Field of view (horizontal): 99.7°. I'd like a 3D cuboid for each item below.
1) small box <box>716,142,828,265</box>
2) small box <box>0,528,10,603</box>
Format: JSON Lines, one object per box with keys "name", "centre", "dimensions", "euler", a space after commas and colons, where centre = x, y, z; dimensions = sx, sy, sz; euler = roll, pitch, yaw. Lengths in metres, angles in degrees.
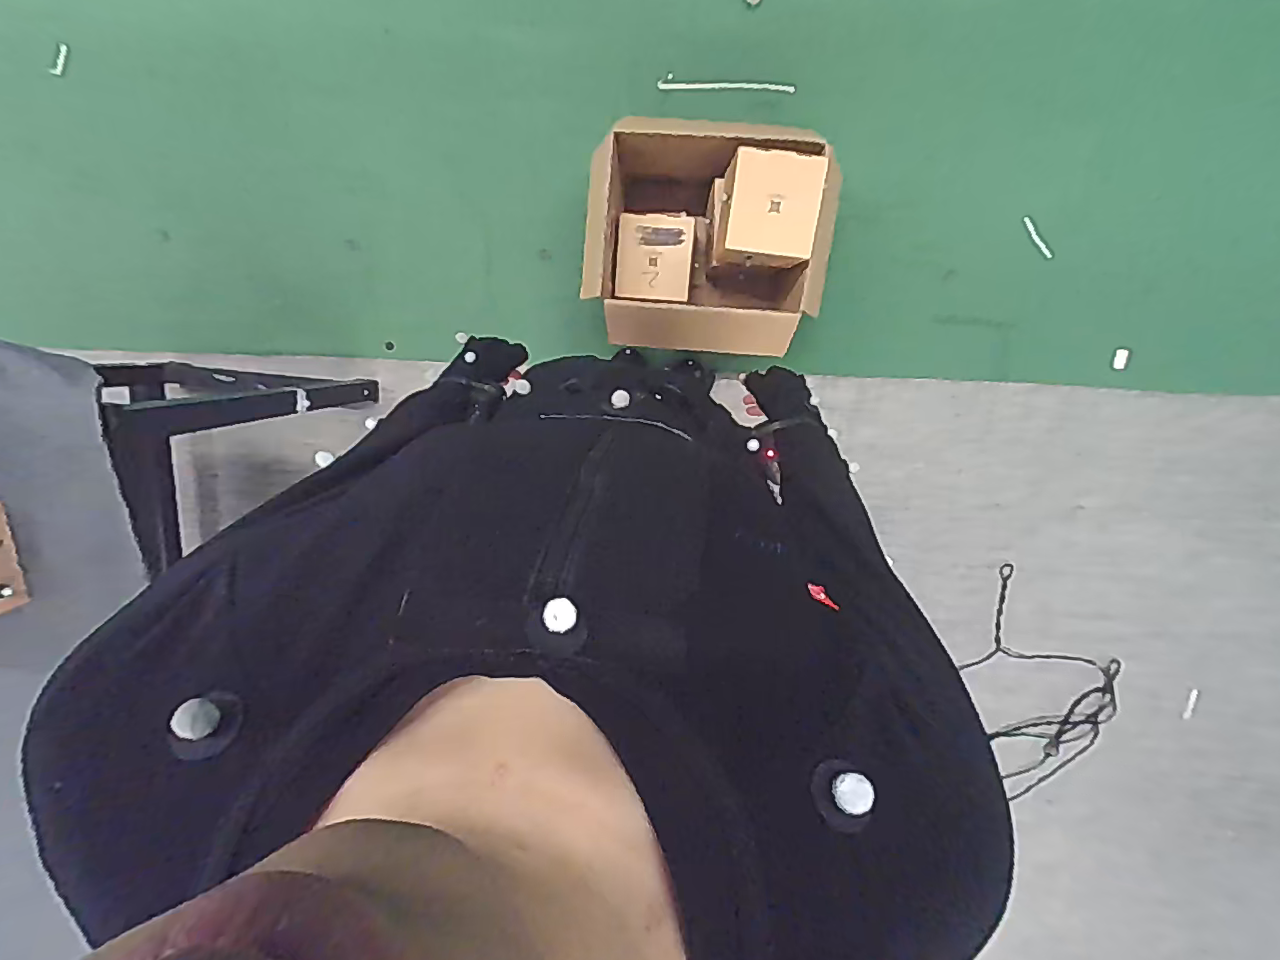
{"name": "small box", "centre": [0.246, -0.529, 1.060], "dimensions": [0.168, 0.176, 0.179], "euler": [7, 104, -1]}
{"name": "small box", "centre": [-1.023, 0.120, 0.727], "dimensions": [0.179, 0.176, 0.168], "euler": [2, 104, 3]}
